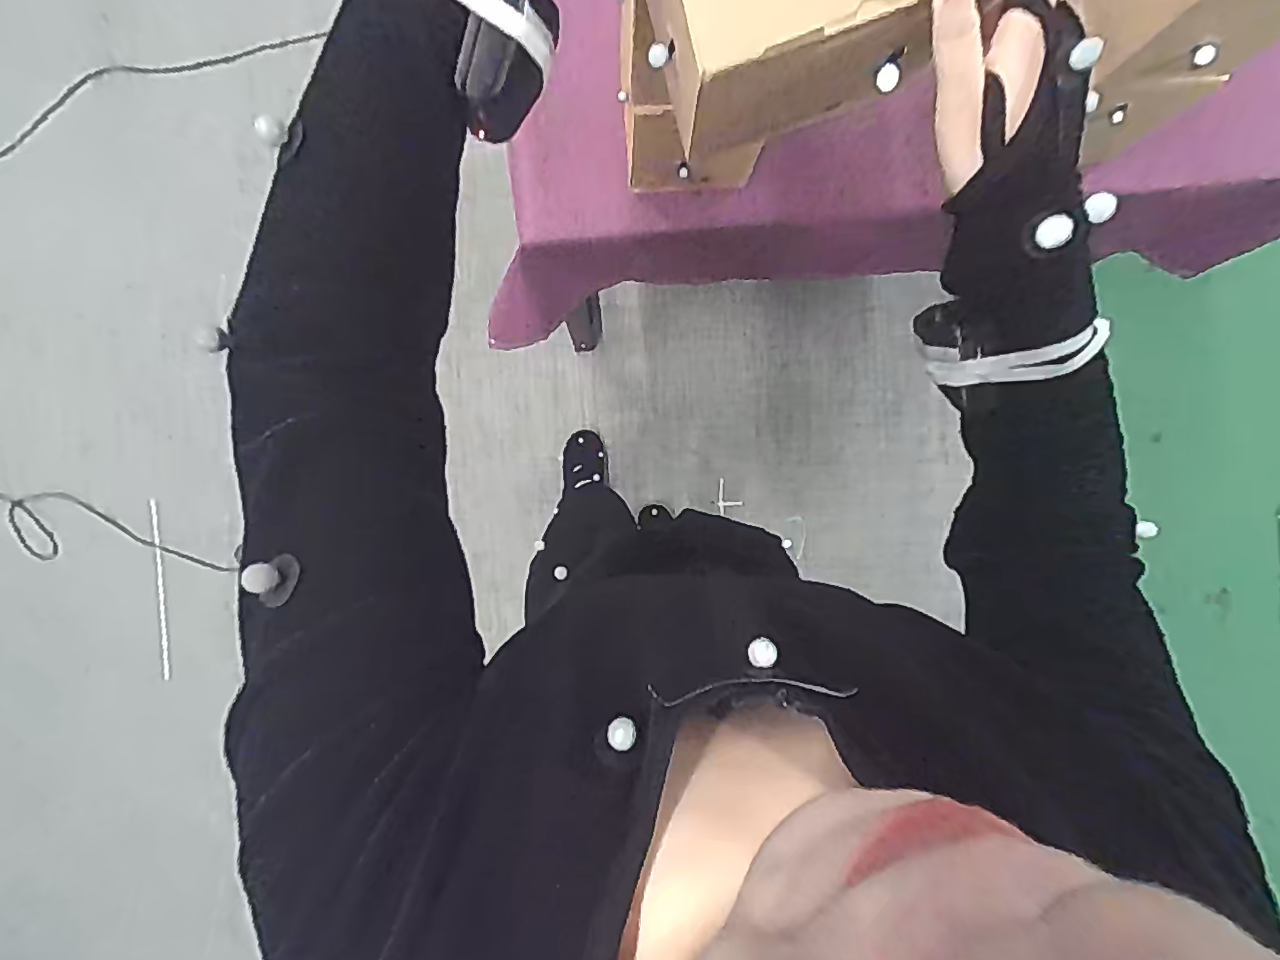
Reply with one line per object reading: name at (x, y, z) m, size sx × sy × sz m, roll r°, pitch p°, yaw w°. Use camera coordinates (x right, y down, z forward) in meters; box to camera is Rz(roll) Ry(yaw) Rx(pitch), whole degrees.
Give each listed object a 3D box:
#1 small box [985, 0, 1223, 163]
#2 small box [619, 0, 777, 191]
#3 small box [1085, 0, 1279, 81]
small box at (0.582, -0.542, 0.705) m, size 0.179 × 0.176 × 0.168 m, roll -5°, pitch 91°, yaw -2°
small box at (0.063, -0.498, 0.684) m, size 0.168 × 0.176 × 0.179 m, roll -5°, pitch 91°, yaw -3°
small box at (0.588, -0.549, 0.541) m, size 0.168 × 0.176 × 0.179 m, roll -7°, pitch 91°, yaw -2°
